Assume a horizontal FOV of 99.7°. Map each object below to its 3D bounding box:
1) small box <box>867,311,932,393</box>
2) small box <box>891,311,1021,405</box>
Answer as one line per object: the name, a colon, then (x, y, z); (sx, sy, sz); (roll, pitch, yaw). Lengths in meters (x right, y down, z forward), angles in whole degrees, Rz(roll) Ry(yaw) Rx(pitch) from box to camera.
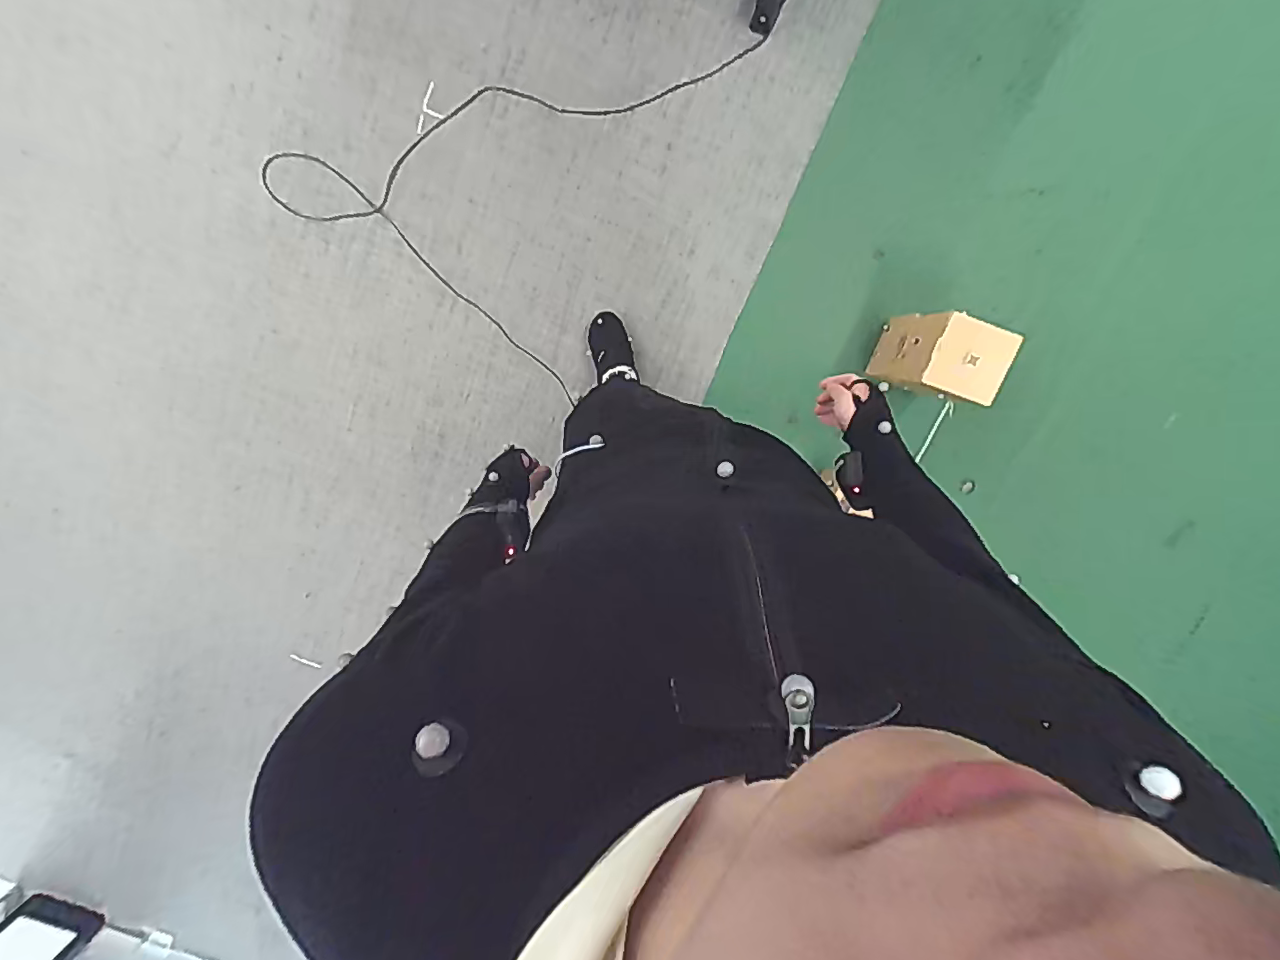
small box: (0.741, -0.335, 1.447); (0.179, 0.176, 0.168); (20, 103, -3)
small box: (0.742, -0.293, 1.290); (0.179, 0.176, 0.168); (19, 103, -2)
